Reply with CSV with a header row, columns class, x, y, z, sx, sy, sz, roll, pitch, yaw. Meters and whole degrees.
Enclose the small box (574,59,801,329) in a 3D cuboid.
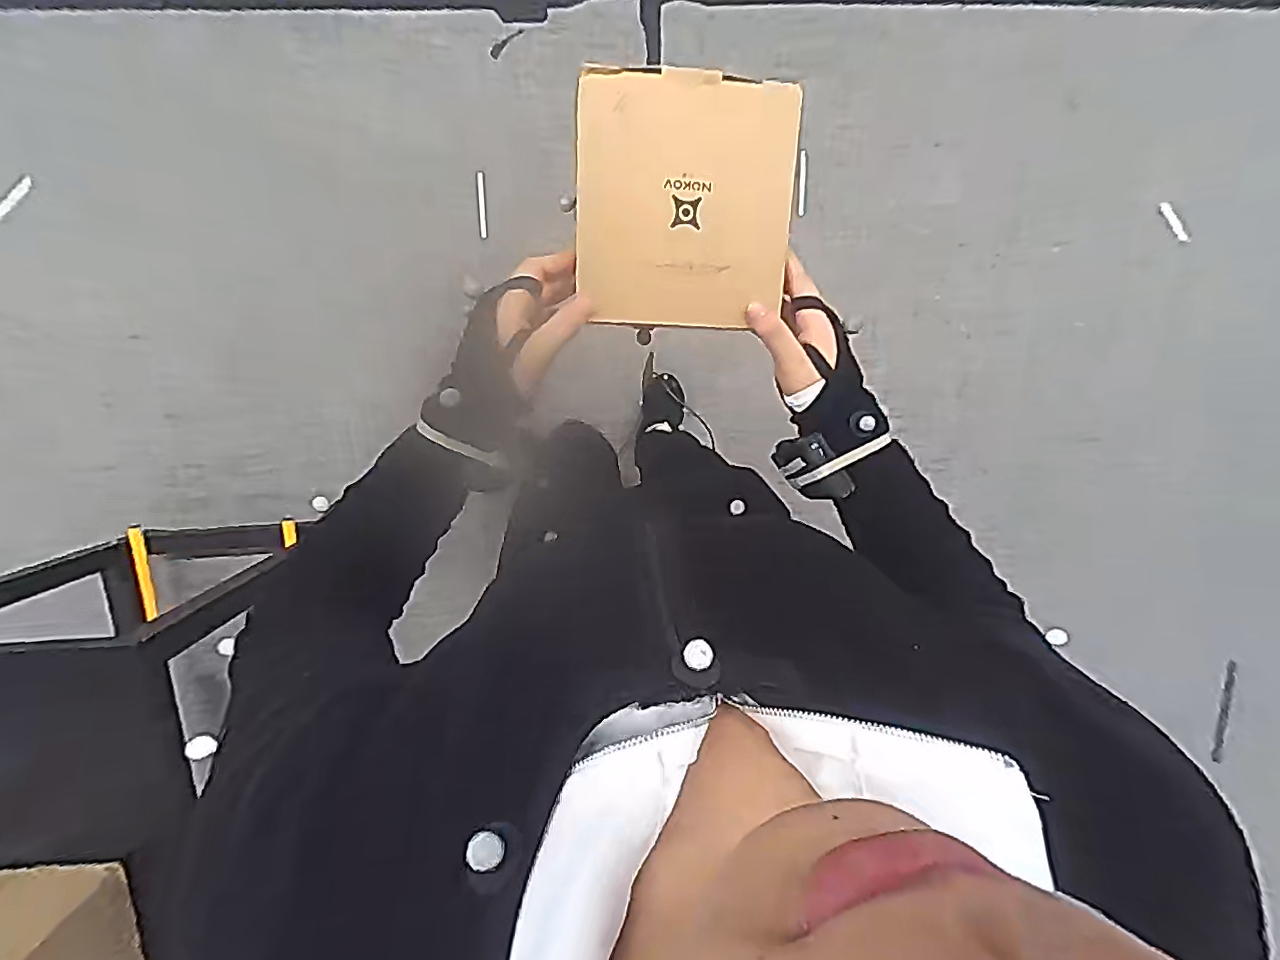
class,x,y,z,sx,sy,sz,roll,pitch,yaw
small box,0.026,-0.228,0.481,0.168,0.176,0.179,0,106,-6
